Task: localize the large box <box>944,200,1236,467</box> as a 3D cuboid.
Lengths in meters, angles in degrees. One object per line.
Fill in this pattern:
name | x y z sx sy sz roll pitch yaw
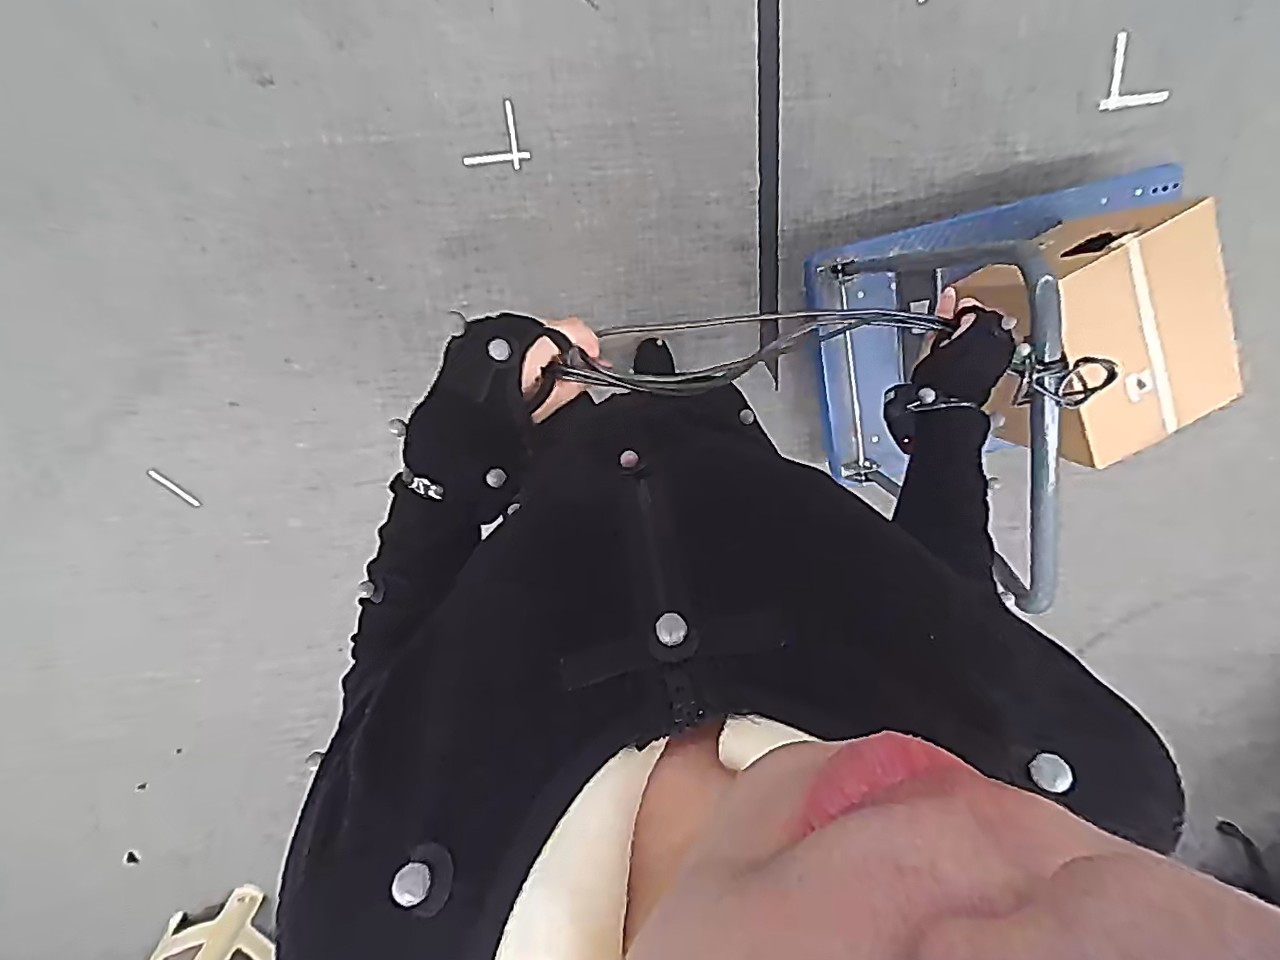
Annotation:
large box | 0.935 -0.304 1.155 0.320 0.320 0.408 -29 109 5
